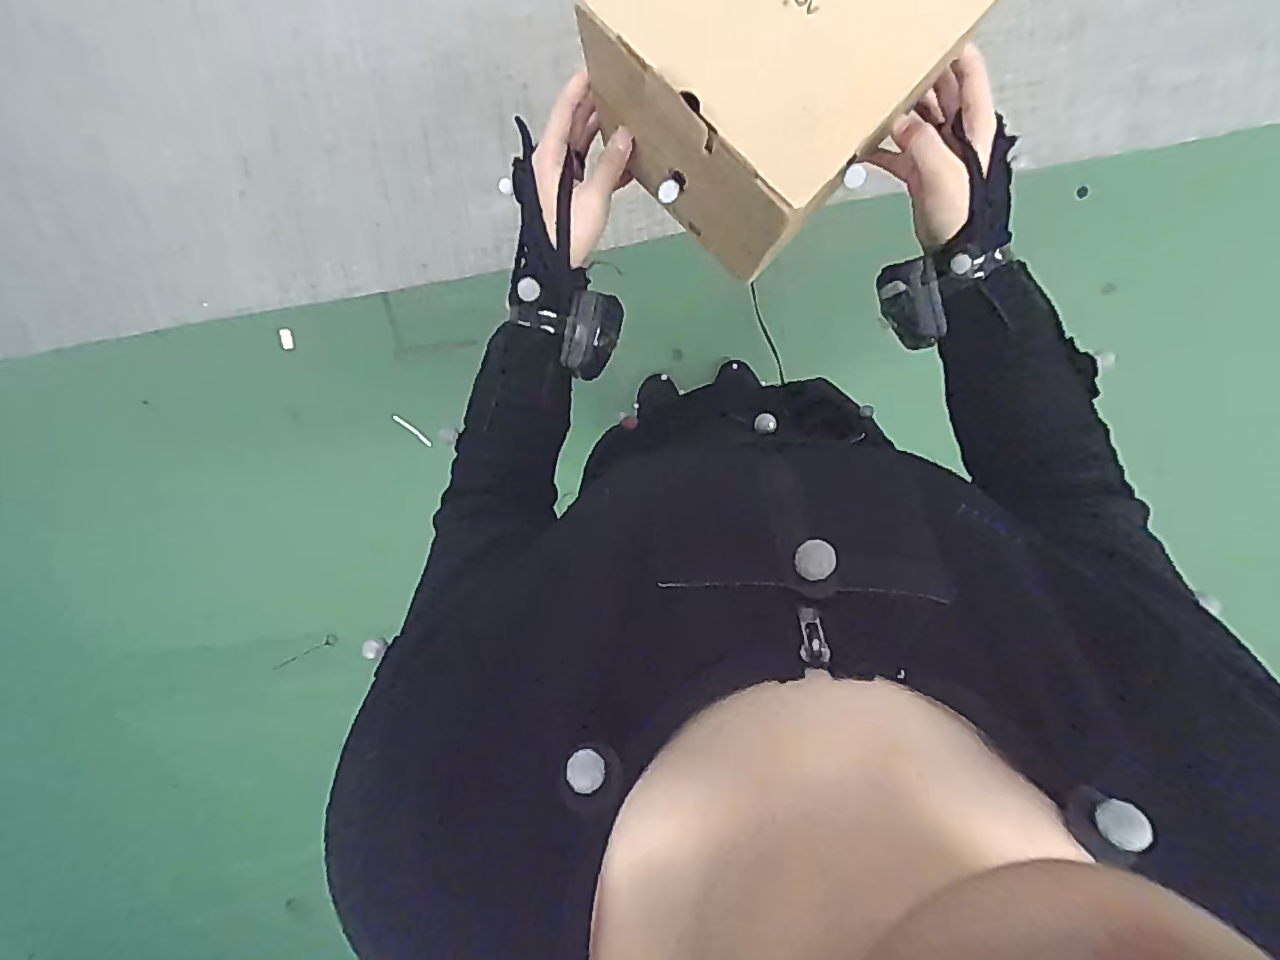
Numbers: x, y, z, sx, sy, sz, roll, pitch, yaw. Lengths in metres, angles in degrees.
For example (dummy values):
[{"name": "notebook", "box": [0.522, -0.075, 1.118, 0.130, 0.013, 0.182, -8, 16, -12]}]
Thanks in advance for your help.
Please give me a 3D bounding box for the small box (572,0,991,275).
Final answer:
[{"name": "small box", "box": [0.084, -0.270, 0.363, 0.168, 0.176, 0.179, 44, 97, -3]}]
